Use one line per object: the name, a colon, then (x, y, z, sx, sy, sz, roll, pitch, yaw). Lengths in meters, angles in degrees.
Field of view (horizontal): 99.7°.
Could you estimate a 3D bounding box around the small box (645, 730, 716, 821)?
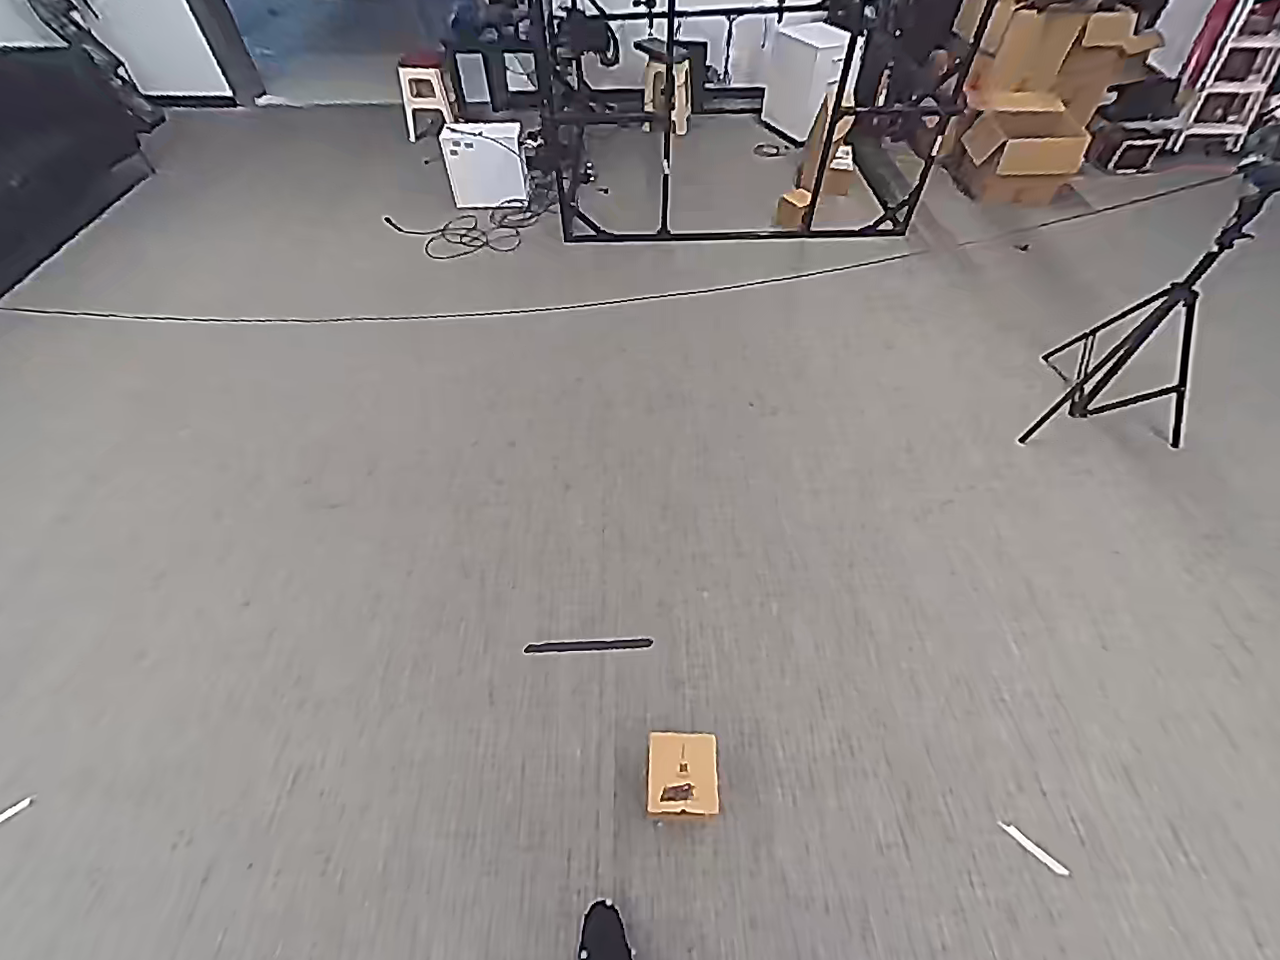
small box: (0.099, 0.747, 1.361, 0.168, 0.176, 0.179, 2, 51, 1)
